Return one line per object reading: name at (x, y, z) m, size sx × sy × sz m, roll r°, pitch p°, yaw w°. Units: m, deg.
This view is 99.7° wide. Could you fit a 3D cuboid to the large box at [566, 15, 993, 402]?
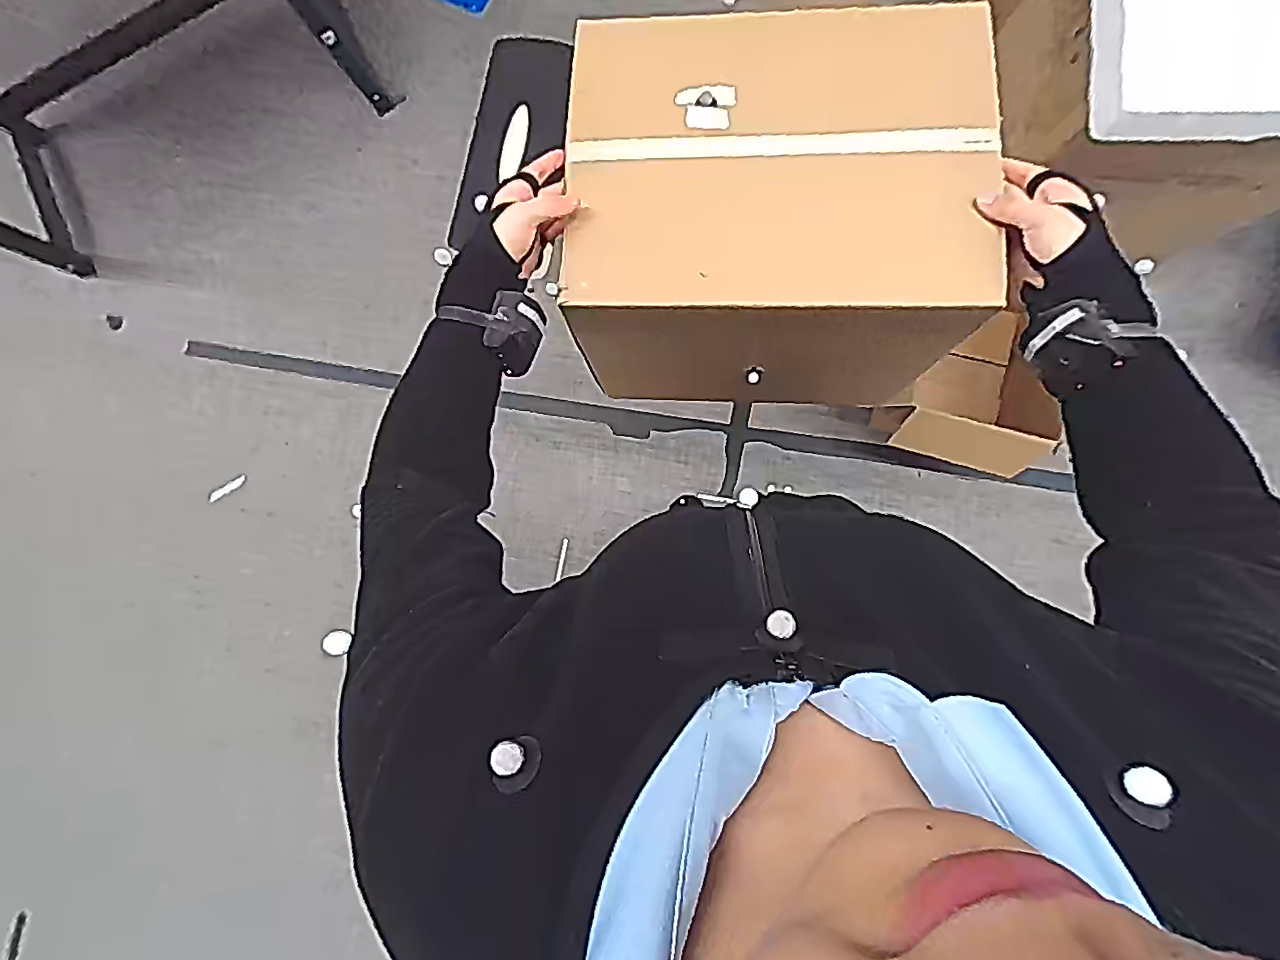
large box at (0.144, -0.288, 0.678) m, size 0.408 × 0.320 × 0.320 m, roll 1°, pitch 80°, yaw 6°
